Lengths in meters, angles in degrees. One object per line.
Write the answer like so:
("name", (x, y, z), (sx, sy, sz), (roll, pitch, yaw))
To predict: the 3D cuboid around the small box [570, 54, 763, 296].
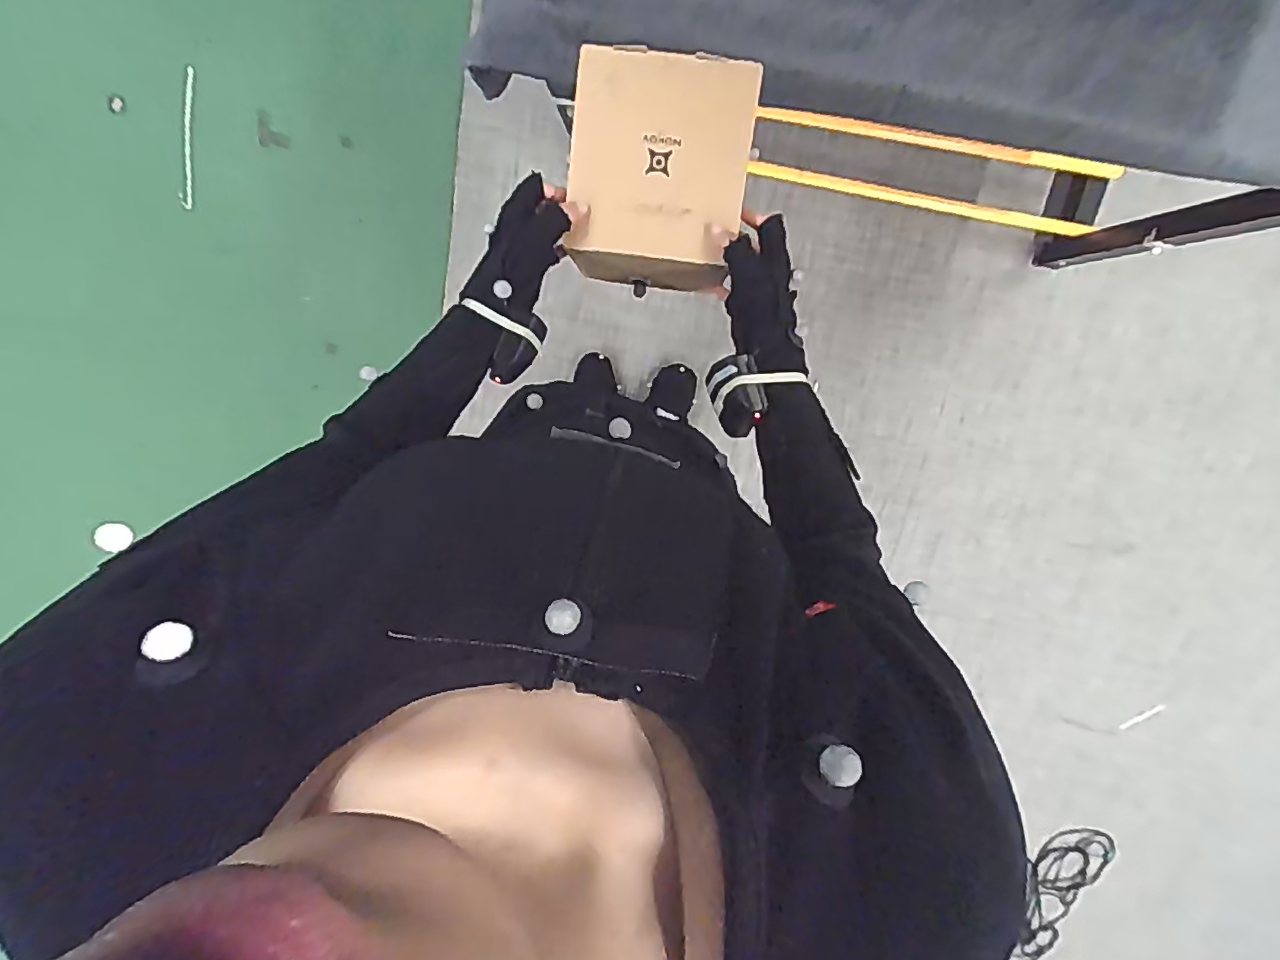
("small box", (0.026, -0.310, 0.585), (0.168, 0.176, 0.179), (7, 101, 3))
